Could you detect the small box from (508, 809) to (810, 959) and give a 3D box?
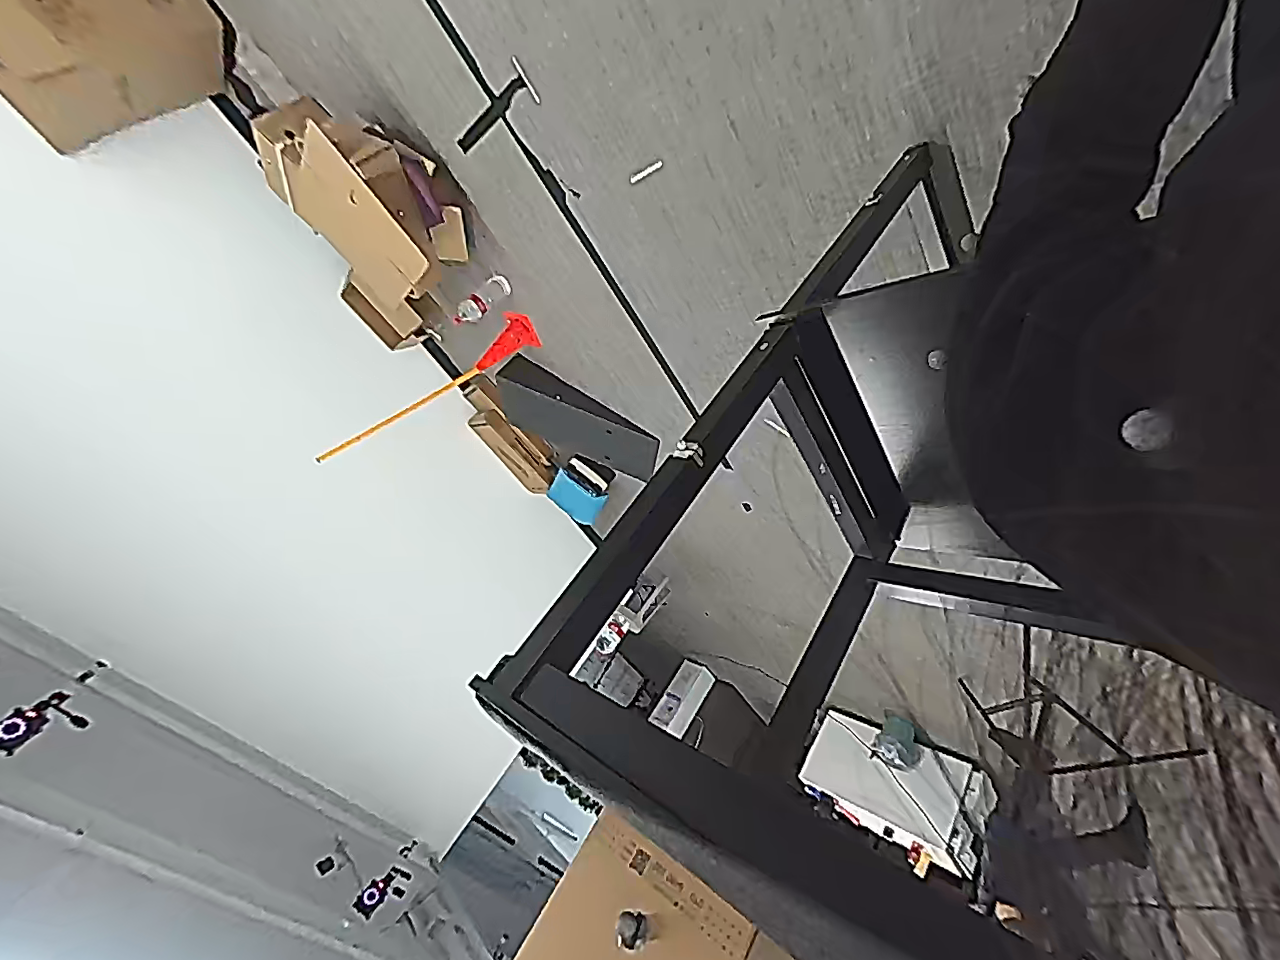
[{"bbox_3d":[0.020,0.402,0.419,0.168,0.176,0.179,3,138,49],"label":"small box"}]
